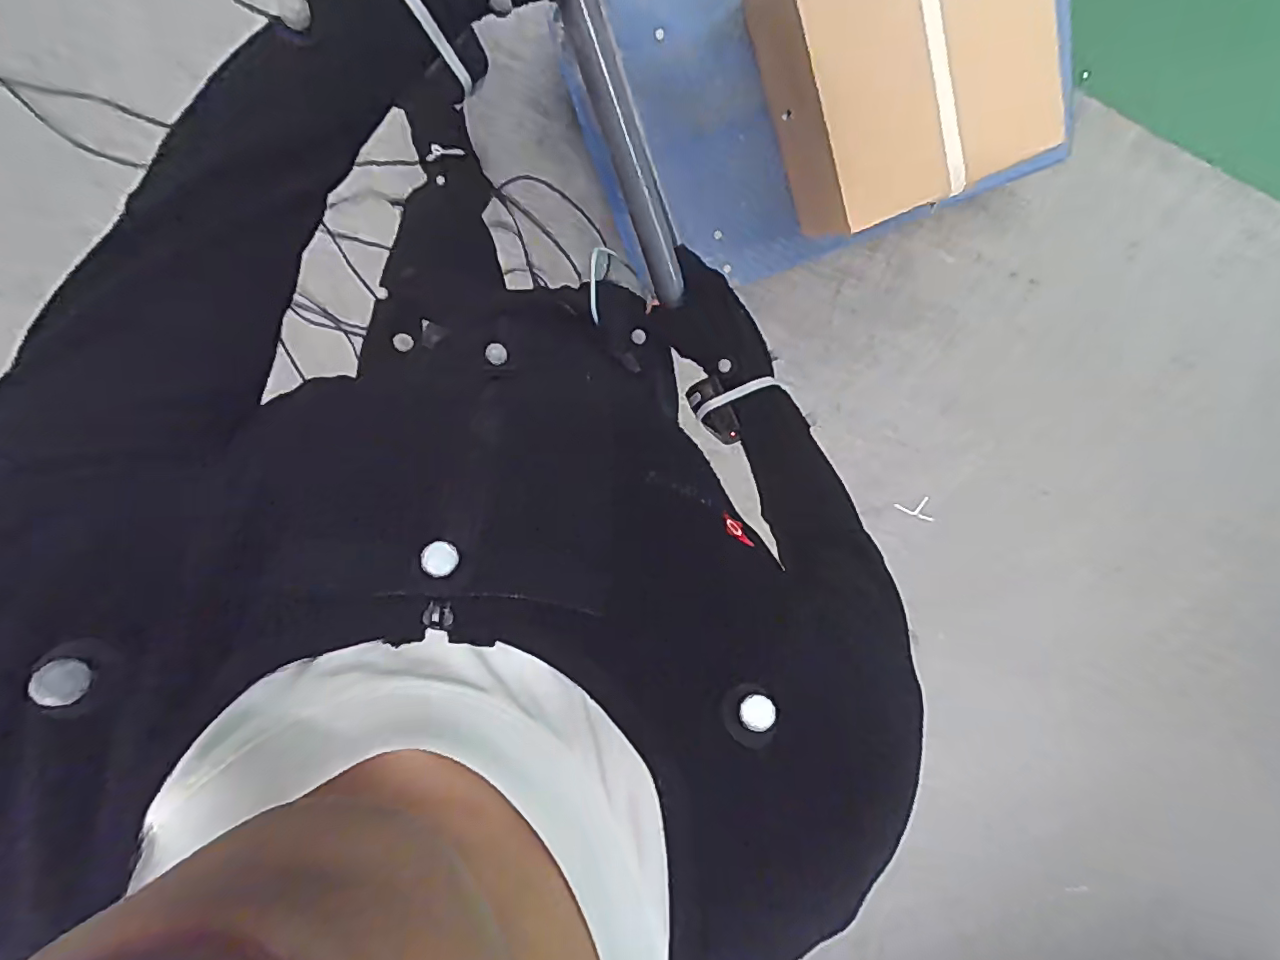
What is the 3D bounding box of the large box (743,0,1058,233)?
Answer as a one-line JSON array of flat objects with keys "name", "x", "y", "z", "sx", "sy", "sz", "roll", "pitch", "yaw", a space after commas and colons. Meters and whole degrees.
[{"name": "large box", "x": 0.391, "y": -0.664, "z": 0.872, "sx": 0.320, "sy": 0.320, "sz": 0.408, "roll": -21, "pitch": 112, "yaw": 10}]
